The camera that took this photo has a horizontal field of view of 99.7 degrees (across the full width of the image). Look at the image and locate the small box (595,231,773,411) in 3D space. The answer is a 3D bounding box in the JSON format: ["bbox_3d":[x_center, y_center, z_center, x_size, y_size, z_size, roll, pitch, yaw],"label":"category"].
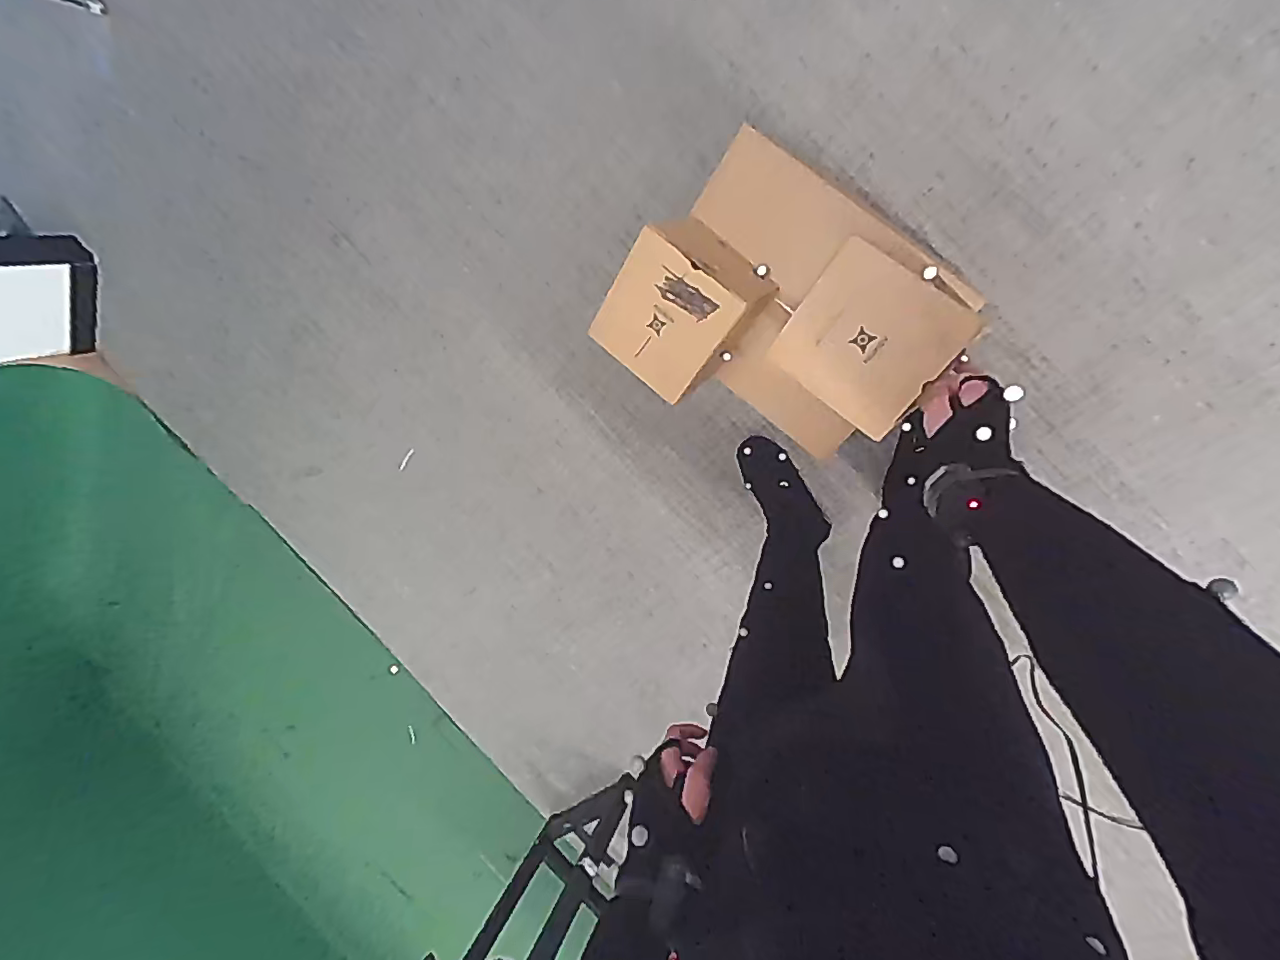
[{"bbox_3d":[0.072,-0.236,0.780,0.168,0.176,0.179,41,128,5],"label":"small box"}]

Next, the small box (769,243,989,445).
[{"bbox_3d":[0.299,-0.174,0.682,0.179,0.176,0.168,41,121,13],"label":"small box"}]
